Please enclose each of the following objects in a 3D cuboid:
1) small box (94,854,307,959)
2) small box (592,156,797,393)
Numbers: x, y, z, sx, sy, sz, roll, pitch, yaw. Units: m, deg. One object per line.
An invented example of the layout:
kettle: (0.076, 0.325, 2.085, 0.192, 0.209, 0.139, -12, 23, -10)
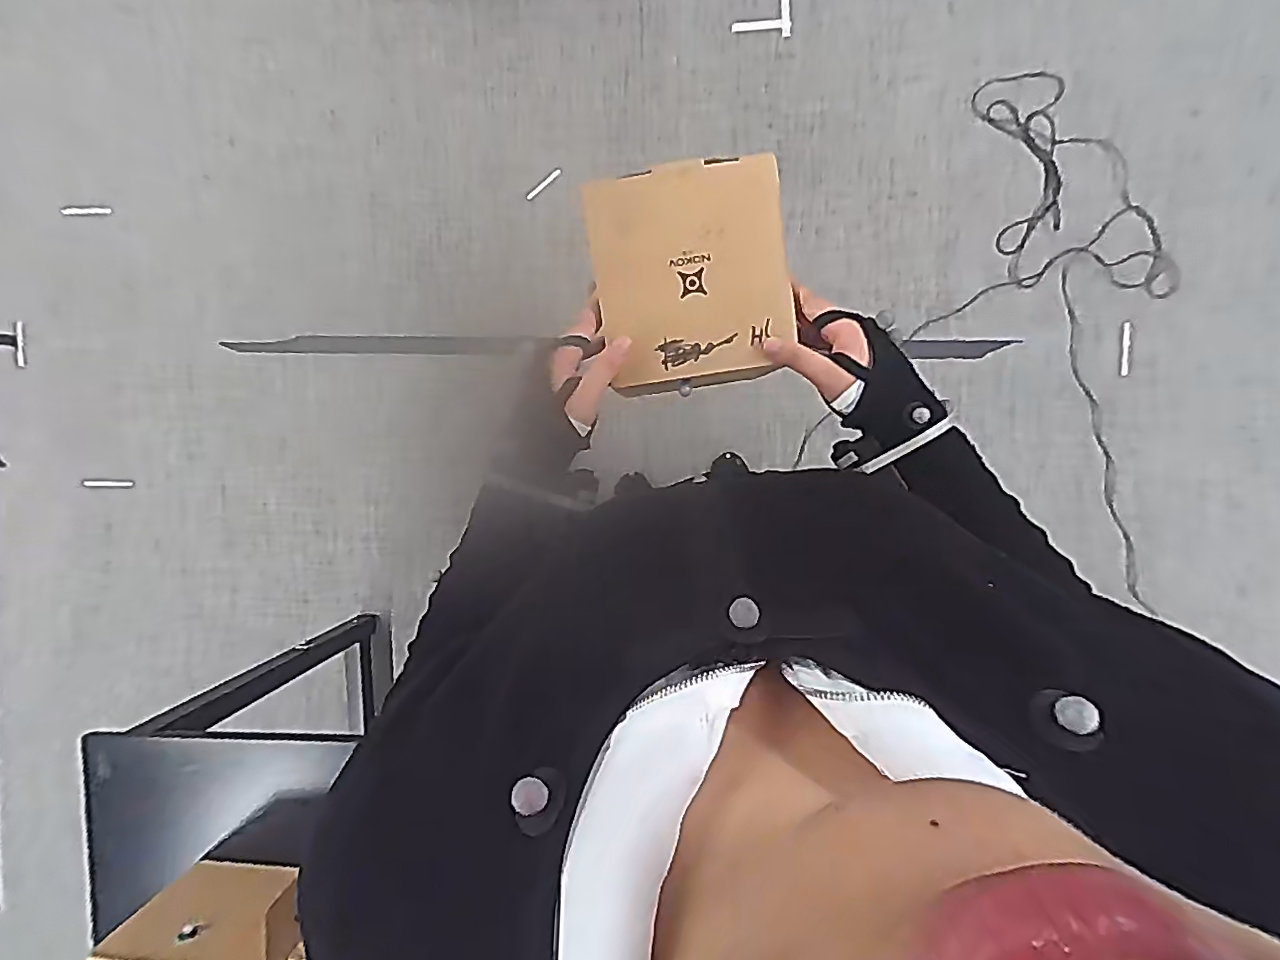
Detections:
small box: (-0.604, 0.669, 0.765, 0.179, 0.176, 0.168, 2, 92, 4)
small box: (0.049, -0.189, 0.549, 0.168, 0.176, 0.179, -8, 97, 2)
